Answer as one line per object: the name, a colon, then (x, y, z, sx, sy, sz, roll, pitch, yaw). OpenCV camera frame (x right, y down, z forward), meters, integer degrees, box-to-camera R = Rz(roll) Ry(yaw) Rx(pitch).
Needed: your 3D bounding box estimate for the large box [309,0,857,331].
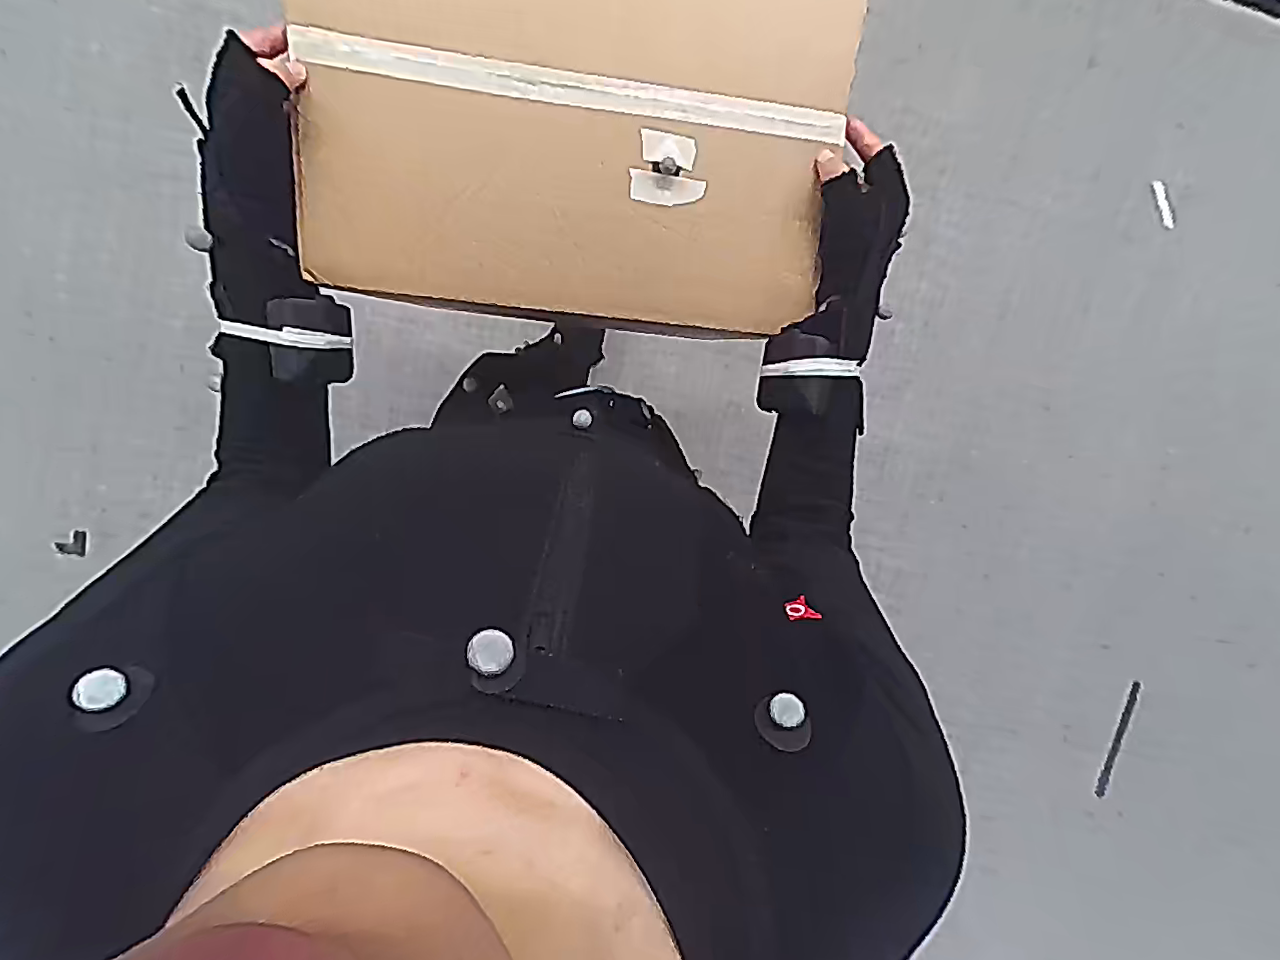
large box: (-0.057, -0.331, 0.552, 0.408, 0.320, 0.320, 4, 105, -8)
